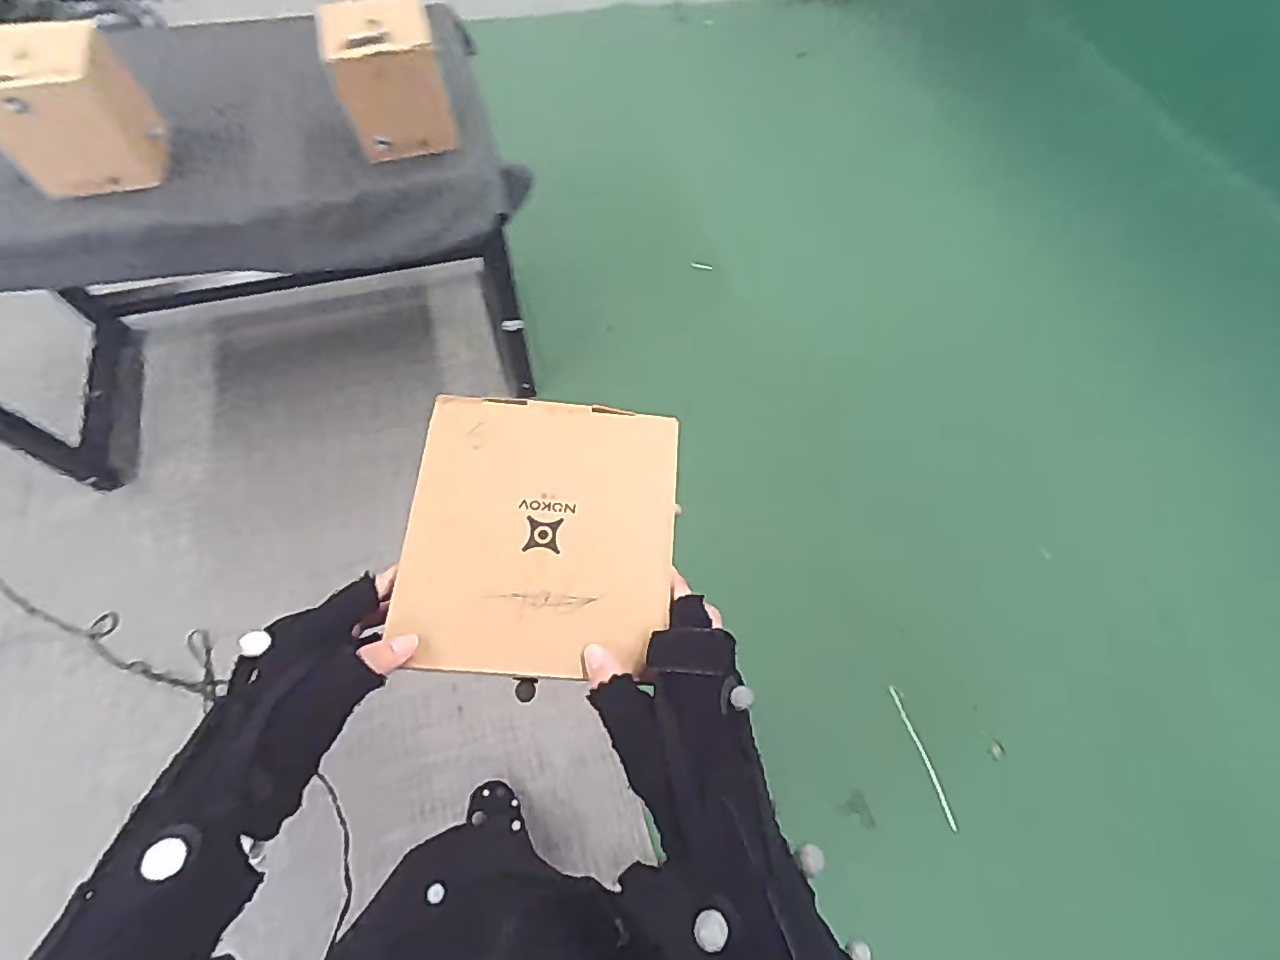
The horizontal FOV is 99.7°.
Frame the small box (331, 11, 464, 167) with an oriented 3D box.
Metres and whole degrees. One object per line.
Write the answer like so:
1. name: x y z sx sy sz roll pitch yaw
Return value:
1. small box: -0.426 -0.688 0.967 0.168 0.176 0.179 -15 64 -8
